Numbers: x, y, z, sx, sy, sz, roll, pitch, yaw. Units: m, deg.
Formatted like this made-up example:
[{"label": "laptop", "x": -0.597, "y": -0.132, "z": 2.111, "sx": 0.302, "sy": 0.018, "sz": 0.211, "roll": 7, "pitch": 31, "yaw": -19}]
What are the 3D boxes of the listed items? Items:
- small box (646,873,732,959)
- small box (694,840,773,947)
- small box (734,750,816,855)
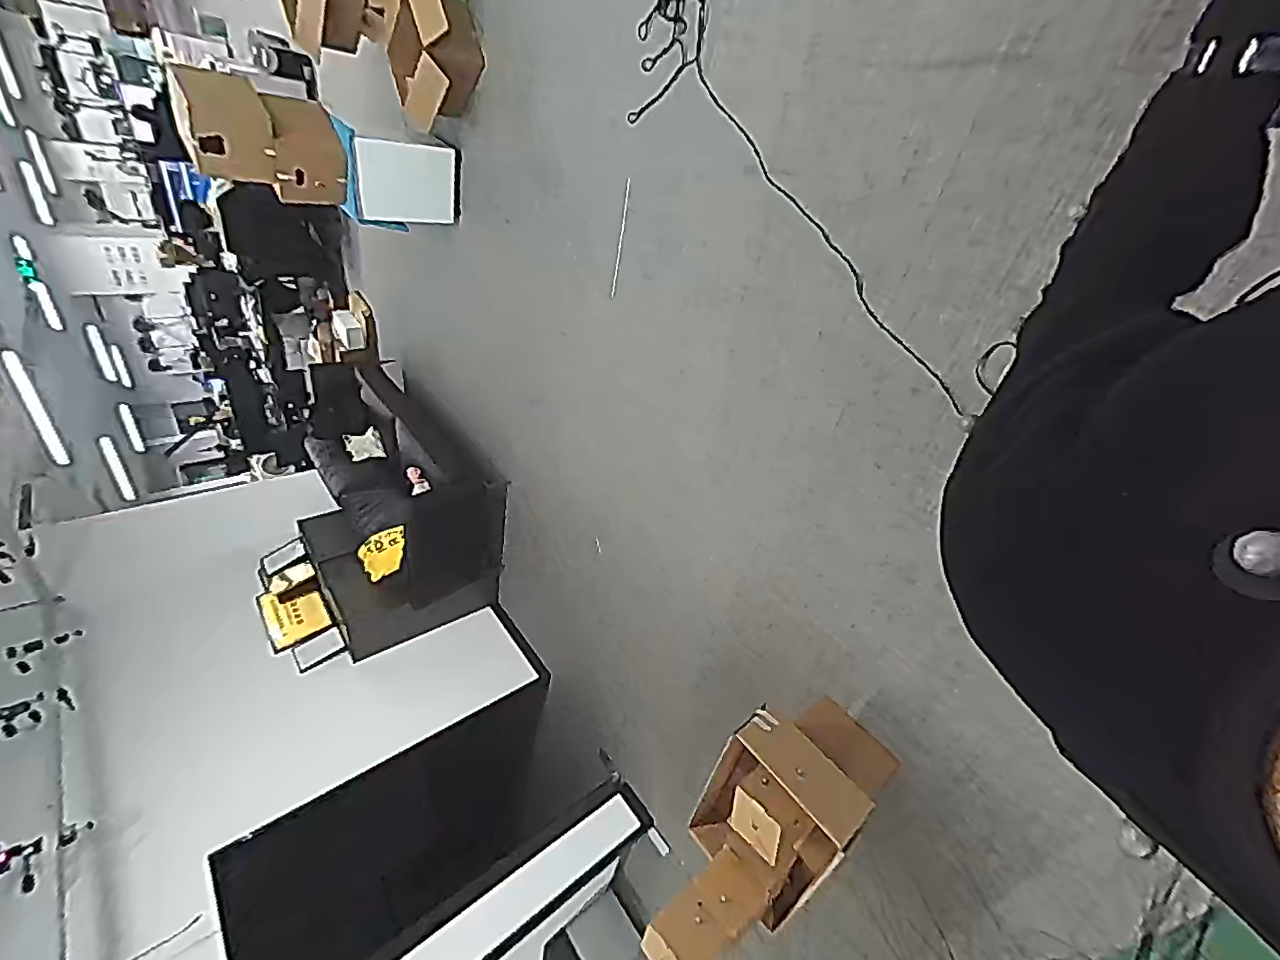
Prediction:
[{"label": "small box", "x": 0.142, "y": 1.293, "z": 1.557, "sx": 0.168, "sy": 0.176, "sz": 0.179, "roll": 36, "pitch": 130, "yaw": 36}, {"label": "small box", "x": 0.272, "y": 1.246, "z": 1.648, "sx": 0.179, "sy": 0.176, "sz": 0.168, "roll": 34, "pitch": 129, "yaw": 37}, {"label": "small box", "x": 0.409, "y": 0.963, "z": 1.631, "sx": 0.168, "sy": 0.176, "sz": 0.179, "roll": 27, "pitch": 125, "yaw": 44}]
